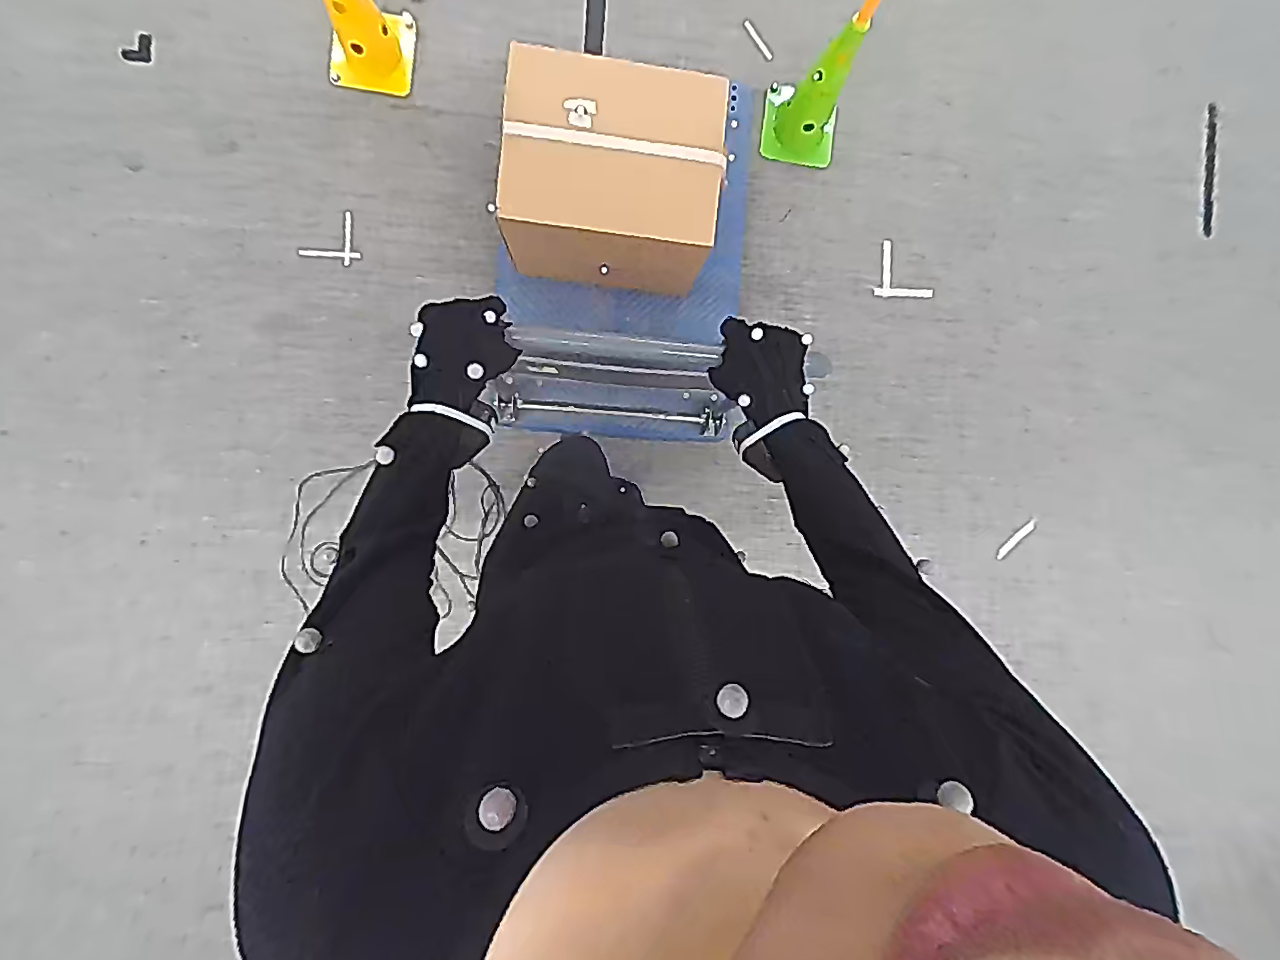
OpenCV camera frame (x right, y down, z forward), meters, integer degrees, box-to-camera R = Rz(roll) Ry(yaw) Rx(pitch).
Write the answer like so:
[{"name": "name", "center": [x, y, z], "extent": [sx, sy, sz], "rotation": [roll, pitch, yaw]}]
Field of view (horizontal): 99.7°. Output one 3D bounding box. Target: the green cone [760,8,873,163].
[{"name": "green cone", "center": [0.453, -0.983, 1.323], "extent": [0.202, 0.368, 0.200], "rotation": [7, 91, -6]}]

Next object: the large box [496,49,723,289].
[{"name": "large box", "center": [-0.061, -0.619, 1.144], "extent": [0.408, 0.320, 0.320], "rotation": [6, 91, -4]}]
